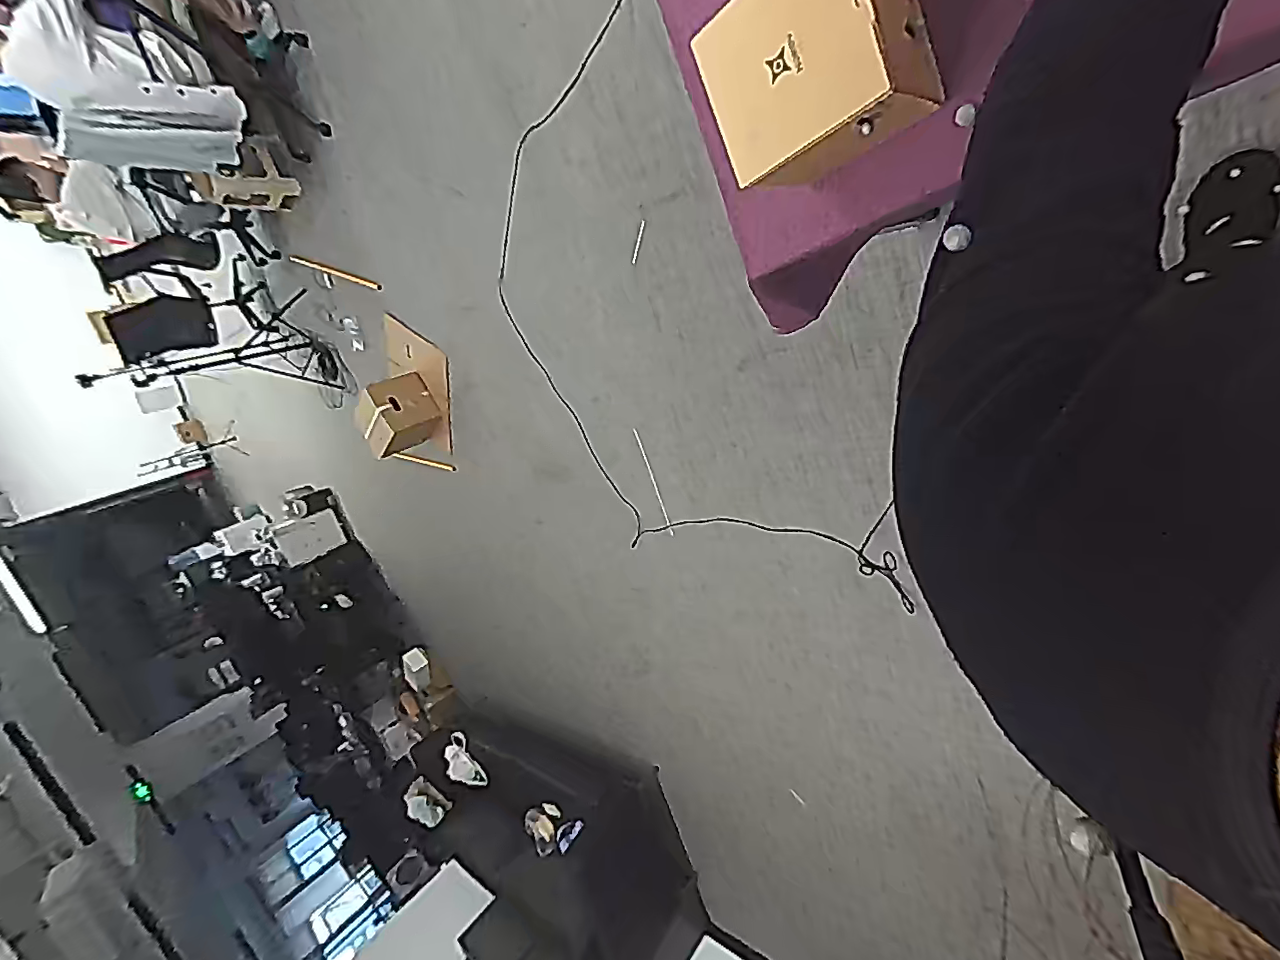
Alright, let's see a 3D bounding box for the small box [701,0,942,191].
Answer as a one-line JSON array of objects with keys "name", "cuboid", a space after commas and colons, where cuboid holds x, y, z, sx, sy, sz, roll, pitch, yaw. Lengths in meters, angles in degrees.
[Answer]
[{"name": "small box", "cuboid": [0.204, -0.446, 0.604, 0.179, 0.176, 0.168, -13, 102, 47]}]
